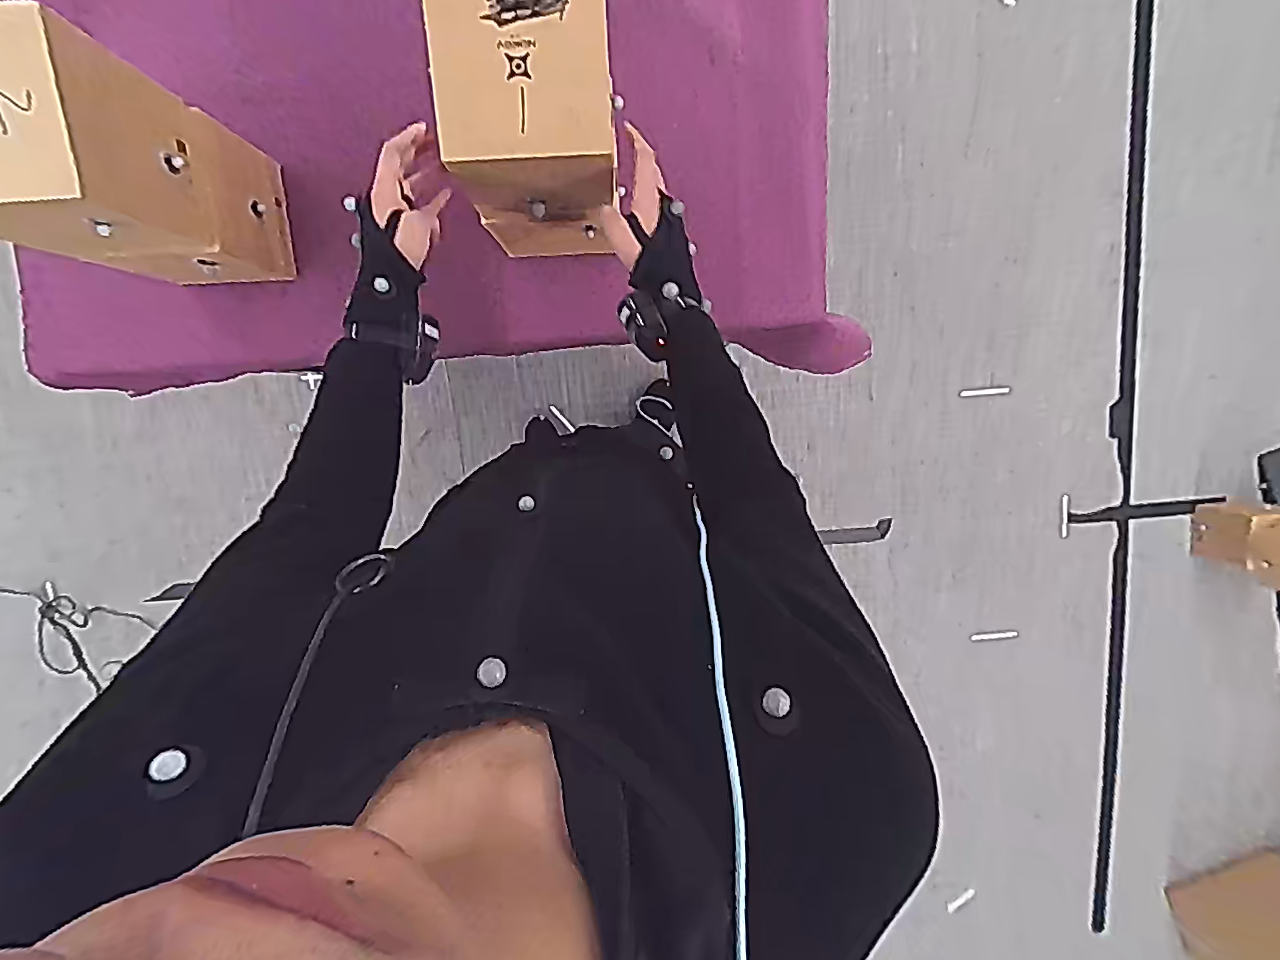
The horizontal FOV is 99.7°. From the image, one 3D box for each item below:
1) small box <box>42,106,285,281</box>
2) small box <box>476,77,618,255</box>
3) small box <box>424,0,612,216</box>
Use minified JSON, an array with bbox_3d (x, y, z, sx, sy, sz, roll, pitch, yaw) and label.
[{"bbox_3d":[-0.607,-0.368,0.721,0.179,0.176,0.168,-3,99,-3],"label":"small box"},{"bbox_3d":[-0.121,-0.416,0.739,0.179,0.176,0.168,-4,99,-2],"label":"small box"},{"bbox_3d":[-0.117,-0.401,0.575,0.168,0.176,0.179,-3,100,-2],"label":"small box"}]
